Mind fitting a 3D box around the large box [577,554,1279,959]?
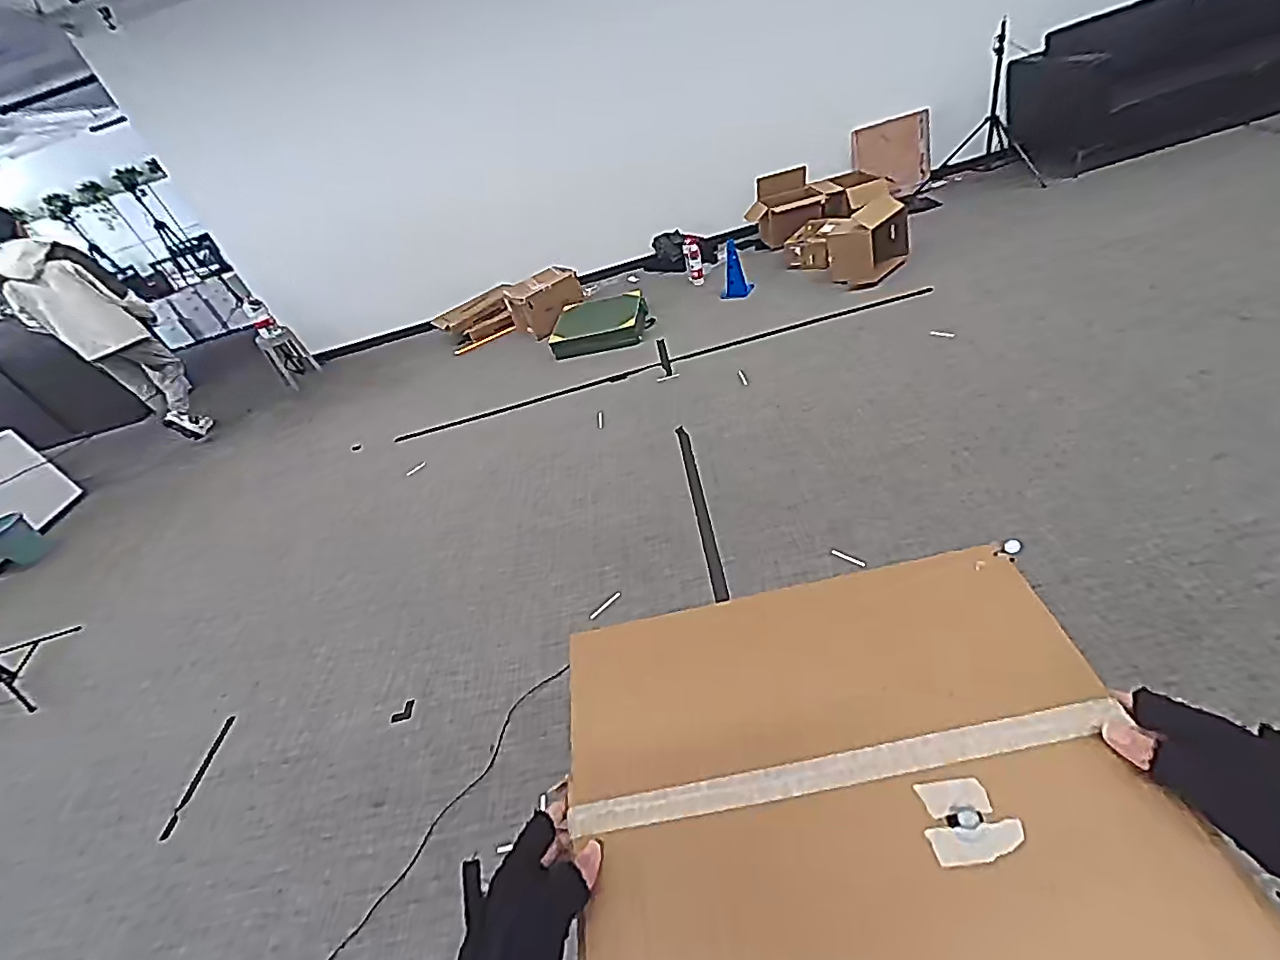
[{"bbox_3d":[0.180,0.323,0.510,0.408,0.320,0.320,-14,45,3],"label":"large box"}]
